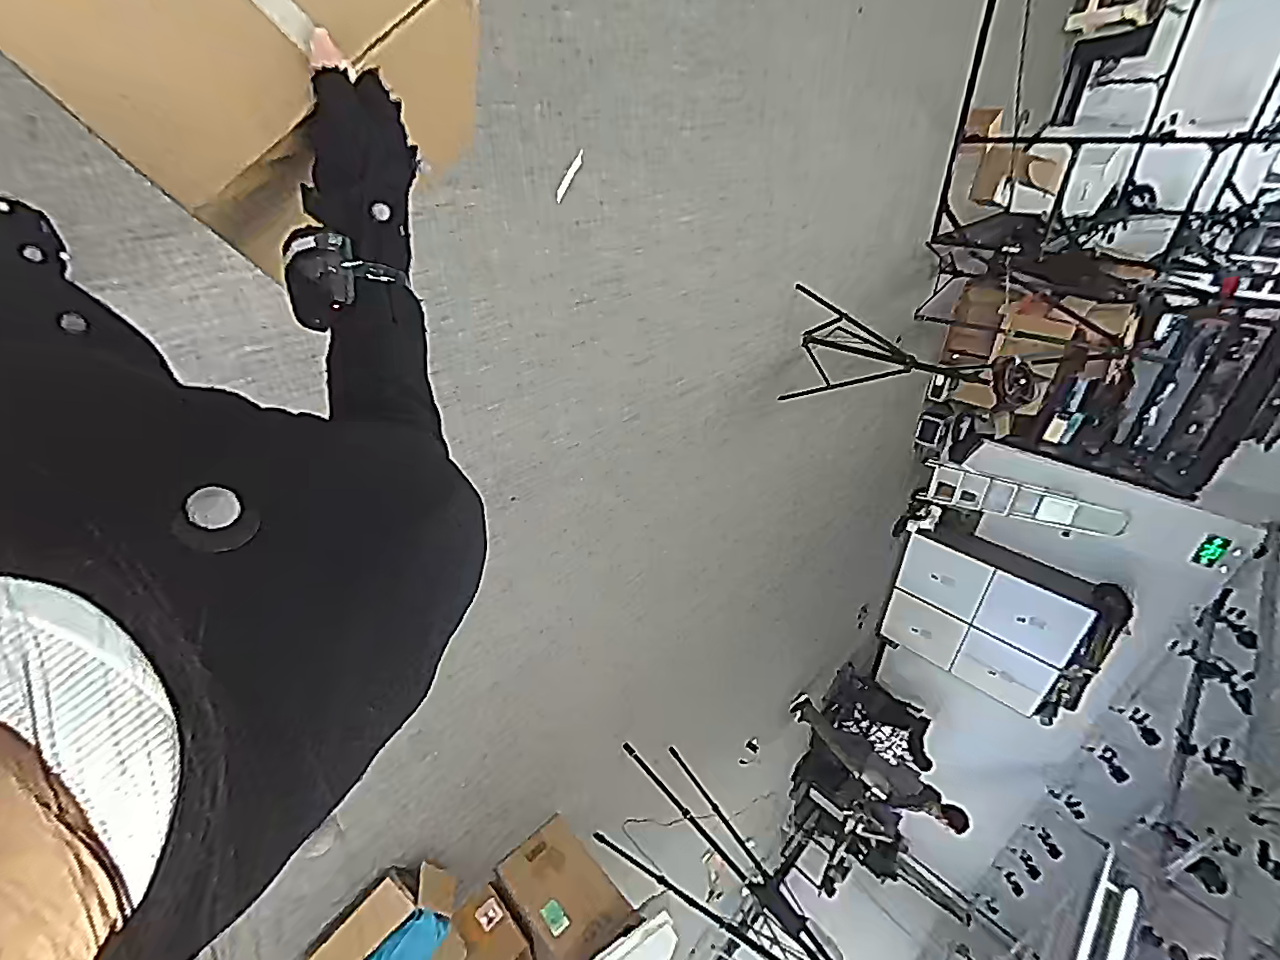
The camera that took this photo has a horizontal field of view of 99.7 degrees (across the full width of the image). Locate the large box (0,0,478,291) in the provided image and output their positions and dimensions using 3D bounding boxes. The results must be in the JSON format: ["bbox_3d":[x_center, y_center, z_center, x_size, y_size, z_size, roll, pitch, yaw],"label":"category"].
[{"bbox_3d":[-0.415,-0.454,0.498,0.408,0.320,0.320,43,83,-21],"label":"large box"}]
